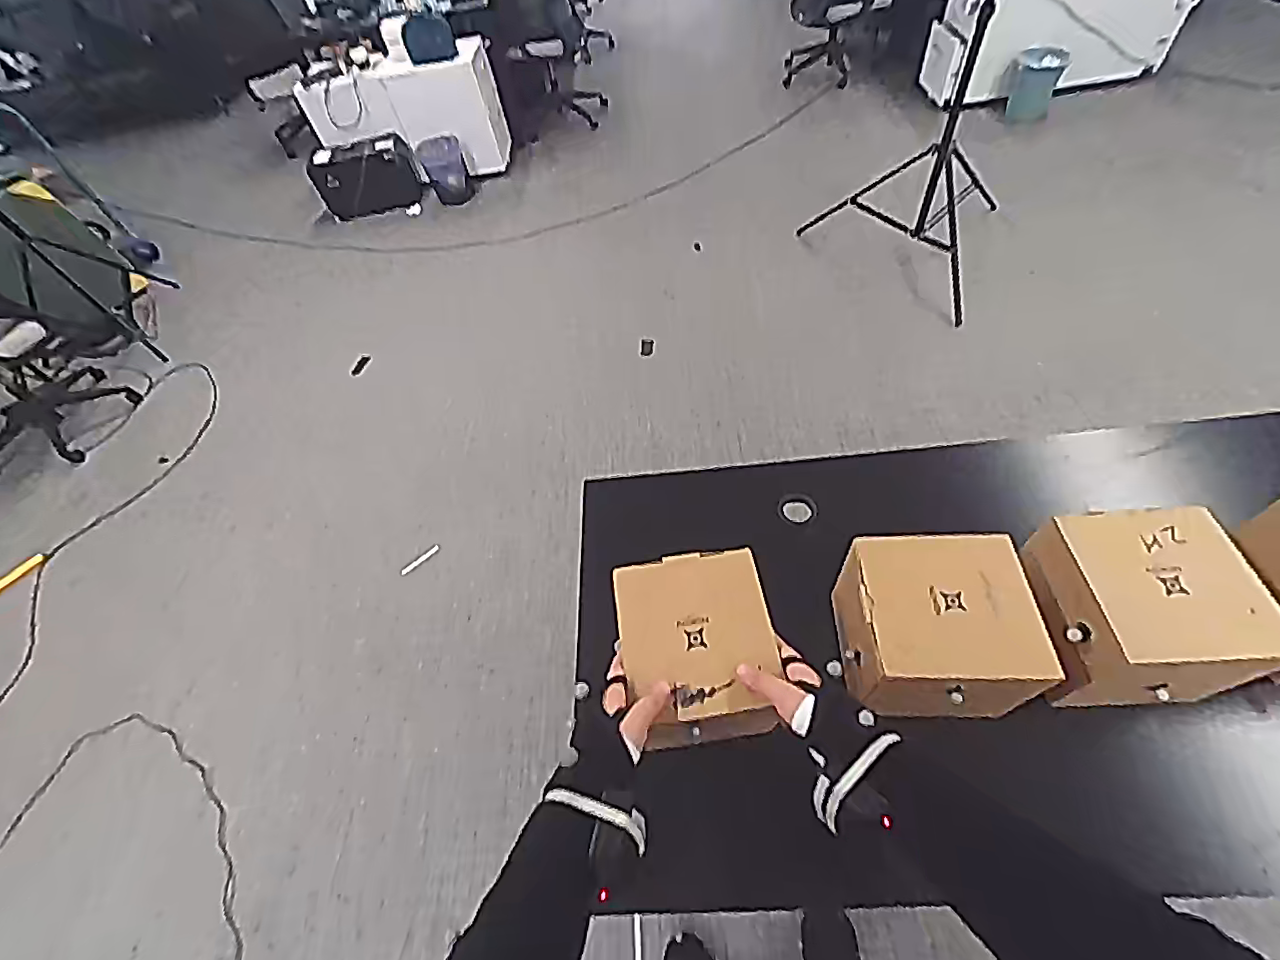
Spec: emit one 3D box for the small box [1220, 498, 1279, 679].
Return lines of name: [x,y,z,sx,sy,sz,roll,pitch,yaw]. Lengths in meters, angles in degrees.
small box: [0.829,0.128,0.630,0.179,0.176,0.168,-4,53,6]

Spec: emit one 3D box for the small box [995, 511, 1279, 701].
small box: [0.570,0.159,0.648,0.168,0.176,0.179,-4,53,6]

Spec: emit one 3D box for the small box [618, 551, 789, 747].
small box: [0.068,0.210,0.659,0.168,0.176,0.179,-9,56,1]
